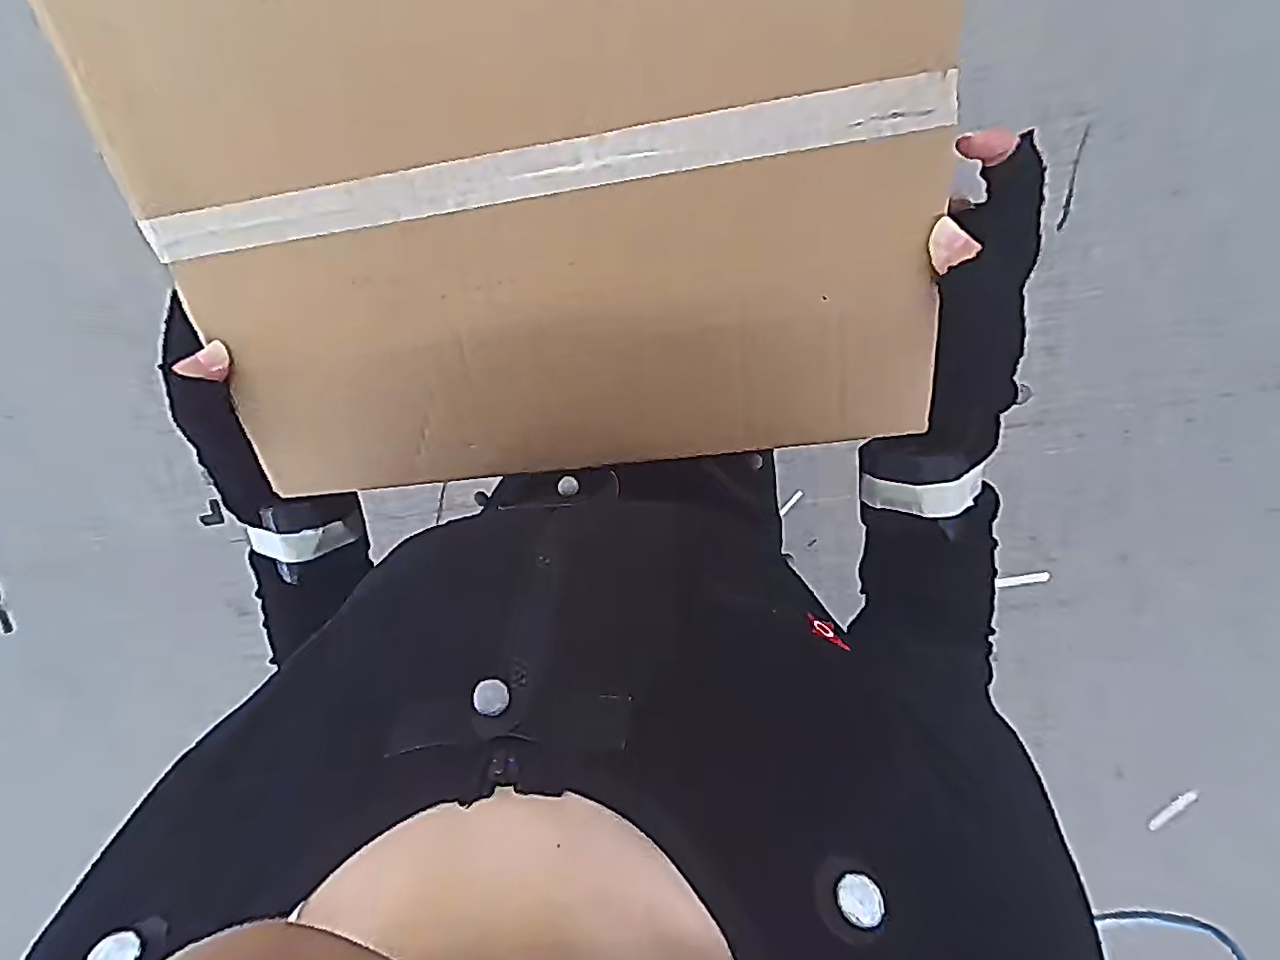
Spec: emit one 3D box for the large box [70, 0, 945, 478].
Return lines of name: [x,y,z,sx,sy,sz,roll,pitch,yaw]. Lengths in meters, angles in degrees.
large box: [-0.050,-0.223,0.405,0.408,0.320,0.320,-6,116,7]
